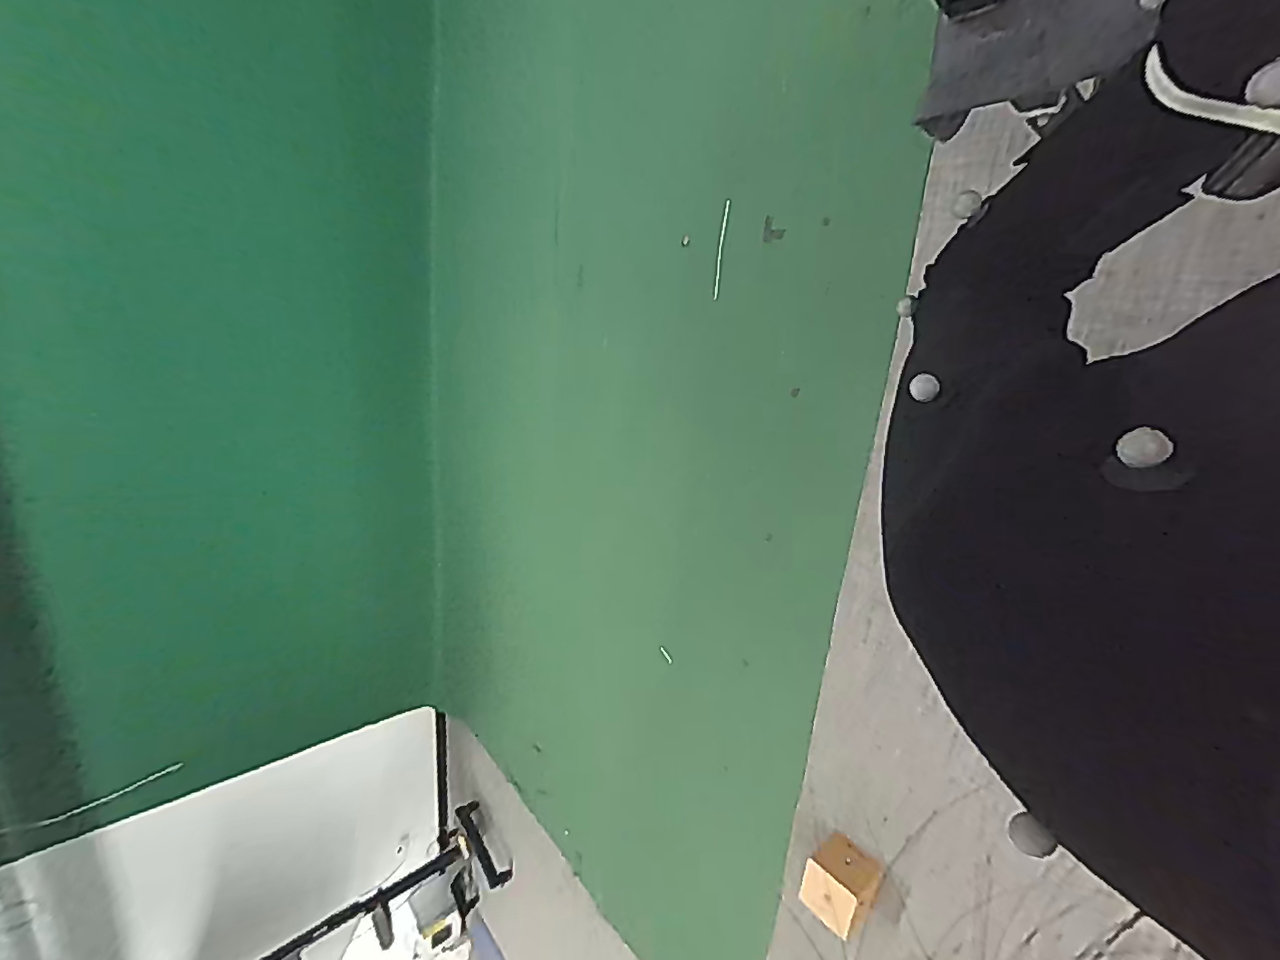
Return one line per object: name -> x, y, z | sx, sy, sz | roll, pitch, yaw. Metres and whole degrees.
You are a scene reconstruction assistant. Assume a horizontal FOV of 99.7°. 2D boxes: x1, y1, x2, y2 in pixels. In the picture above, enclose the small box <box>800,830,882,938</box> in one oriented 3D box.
small box -> 0.633, 1.253, 1.695 | 0.168, 0.176, 0.179 | 23, 113, 46
